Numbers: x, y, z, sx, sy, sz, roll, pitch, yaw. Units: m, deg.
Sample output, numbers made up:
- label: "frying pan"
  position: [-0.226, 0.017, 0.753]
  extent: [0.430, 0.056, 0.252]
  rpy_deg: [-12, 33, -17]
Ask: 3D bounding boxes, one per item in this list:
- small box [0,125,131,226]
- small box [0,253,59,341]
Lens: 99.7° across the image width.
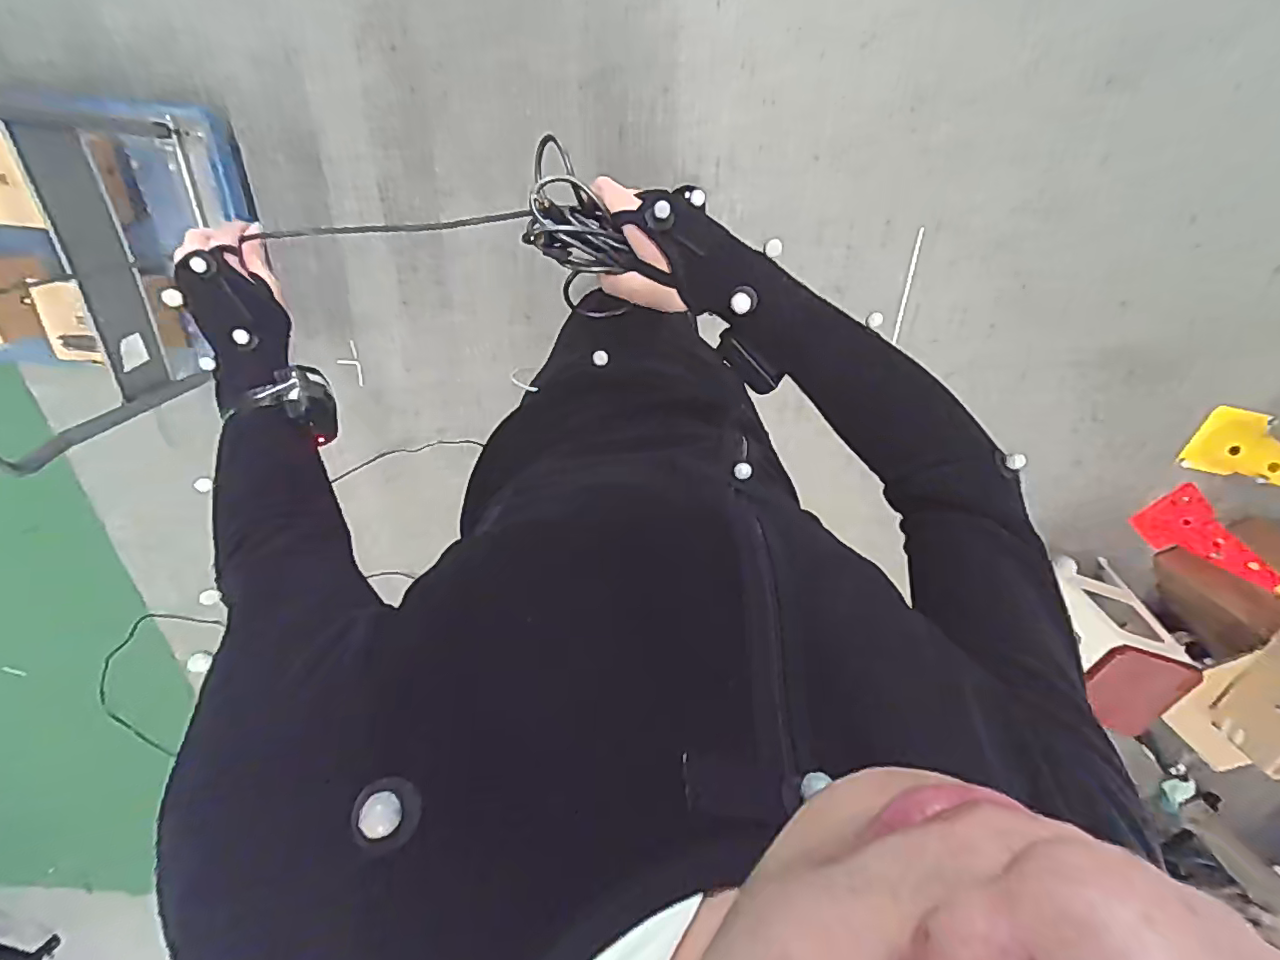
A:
- label: "small box"
  position: [-1.208, -0.616, 1.094]
  extent: [0.179, 0.176, 0.168]
  rpy_deg: [4, 119, -2]
- label: "small box"
  position: [-1.474, -0.411, 1.204]
  extent: [0.179, 0.176, 0.168]
  rpy_deg: [-1, 118, 0]
